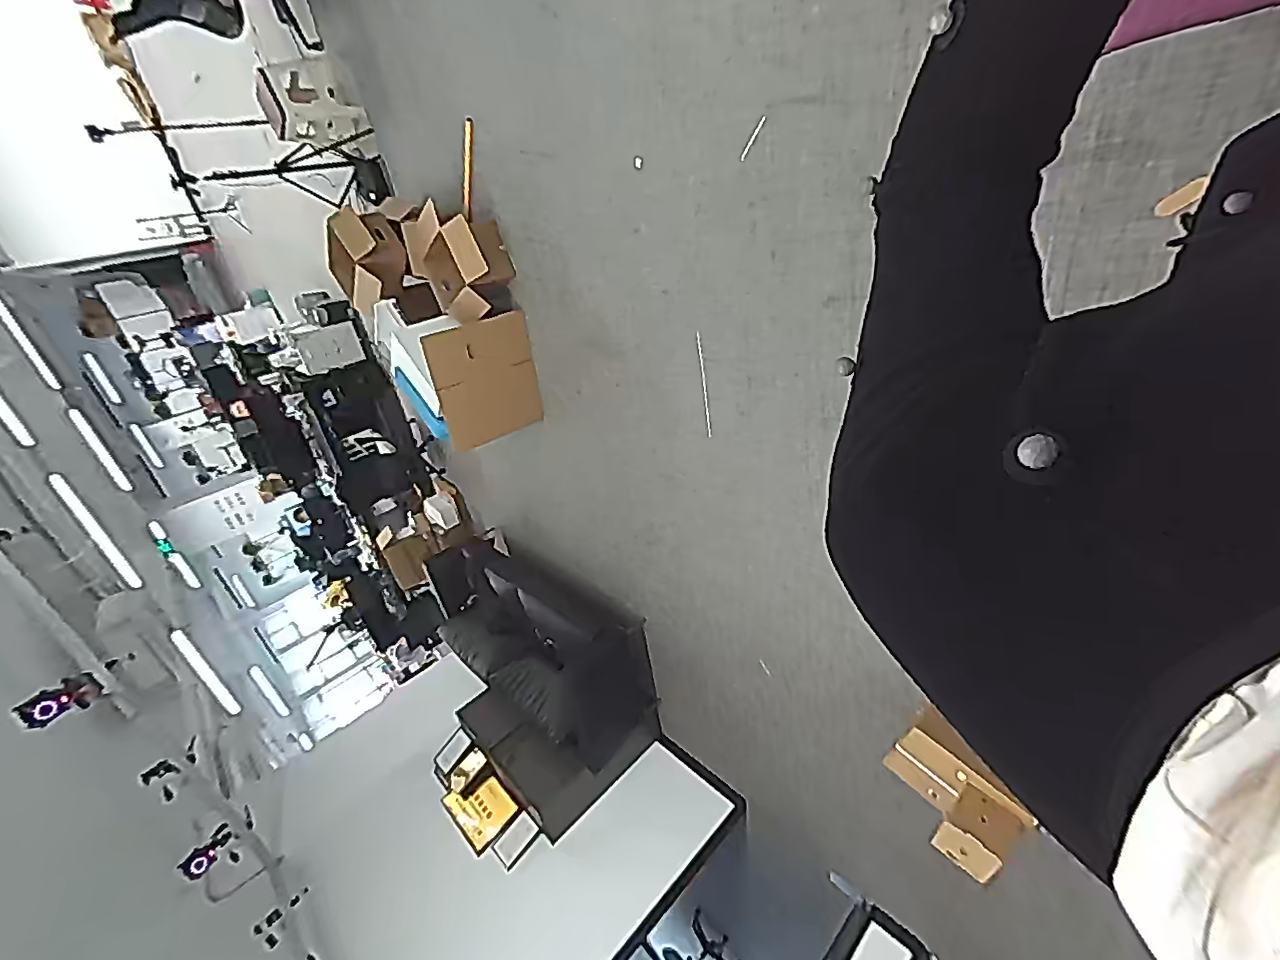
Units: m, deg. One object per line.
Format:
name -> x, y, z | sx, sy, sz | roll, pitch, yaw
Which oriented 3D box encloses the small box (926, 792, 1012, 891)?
small box -> 1.052, 1.147, 1.726 | 0.168, 0.176, 0.179 | 31, 135, 37
